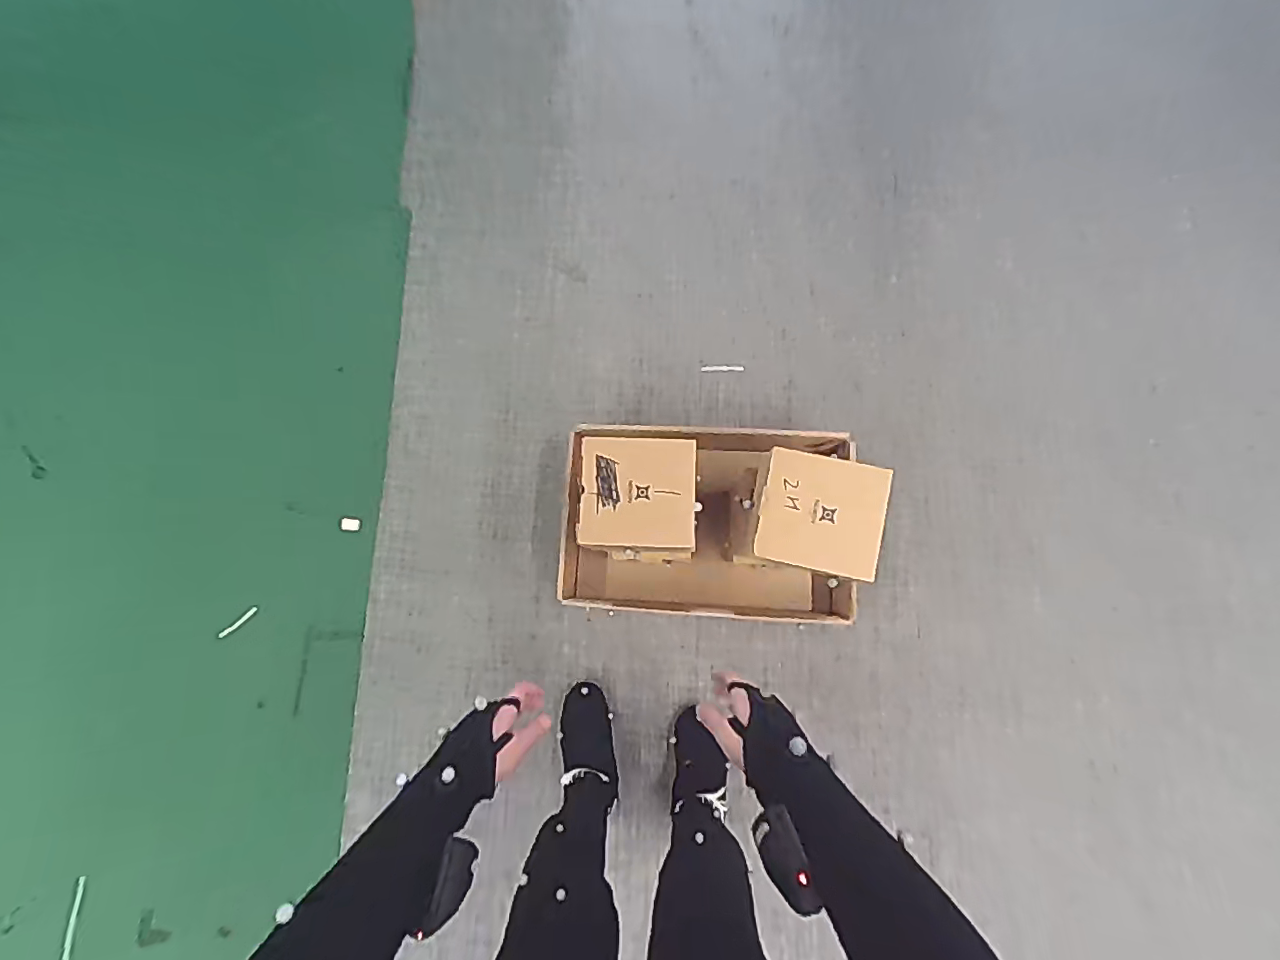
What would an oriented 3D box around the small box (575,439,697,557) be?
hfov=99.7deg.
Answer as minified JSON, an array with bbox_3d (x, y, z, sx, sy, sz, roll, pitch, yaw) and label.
[{"bbox_3d":[-0.001,0.036,0.883,0.179,0.176,0.168,2,80,3],"label":"small box"}]

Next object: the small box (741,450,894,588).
[{"bbox_3d":[0.267,0.065,0.849,0.179,0.176,0.168,13,82,7],"label":"small box"}]

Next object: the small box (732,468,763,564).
[{"bbox_3d":[0.273,0.079,1.016,0.179,0.176,0.168,5,81,7],"label":"small box"}]
